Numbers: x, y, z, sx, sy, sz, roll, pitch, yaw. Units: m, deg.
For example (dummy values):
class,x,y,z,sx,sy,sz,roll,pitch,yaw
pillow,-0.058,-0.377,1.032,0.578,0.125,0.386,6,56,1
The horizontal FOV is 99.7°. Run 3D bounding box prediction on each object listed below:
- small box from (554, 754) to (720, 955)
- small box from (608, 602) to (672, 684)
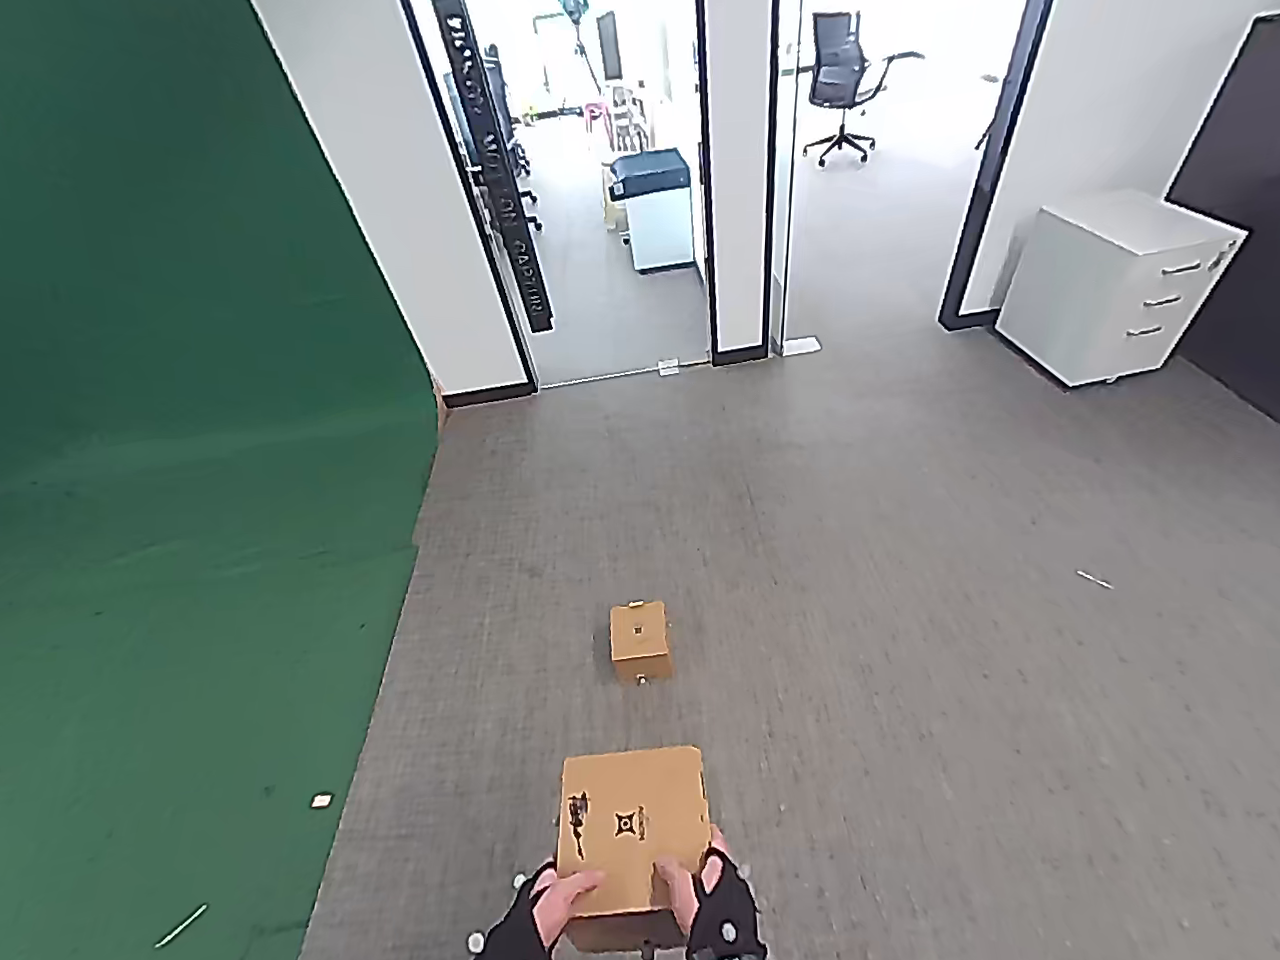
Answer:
class,x,y,z,sx,sy,sz,roll,pitch,yaw
small box,0.000,0.464,0.672,0.179,0.176,0.168,-5,38,1
small box,0.002,0.492,1.632,0.168,0.176,0.179,-8,44,6
